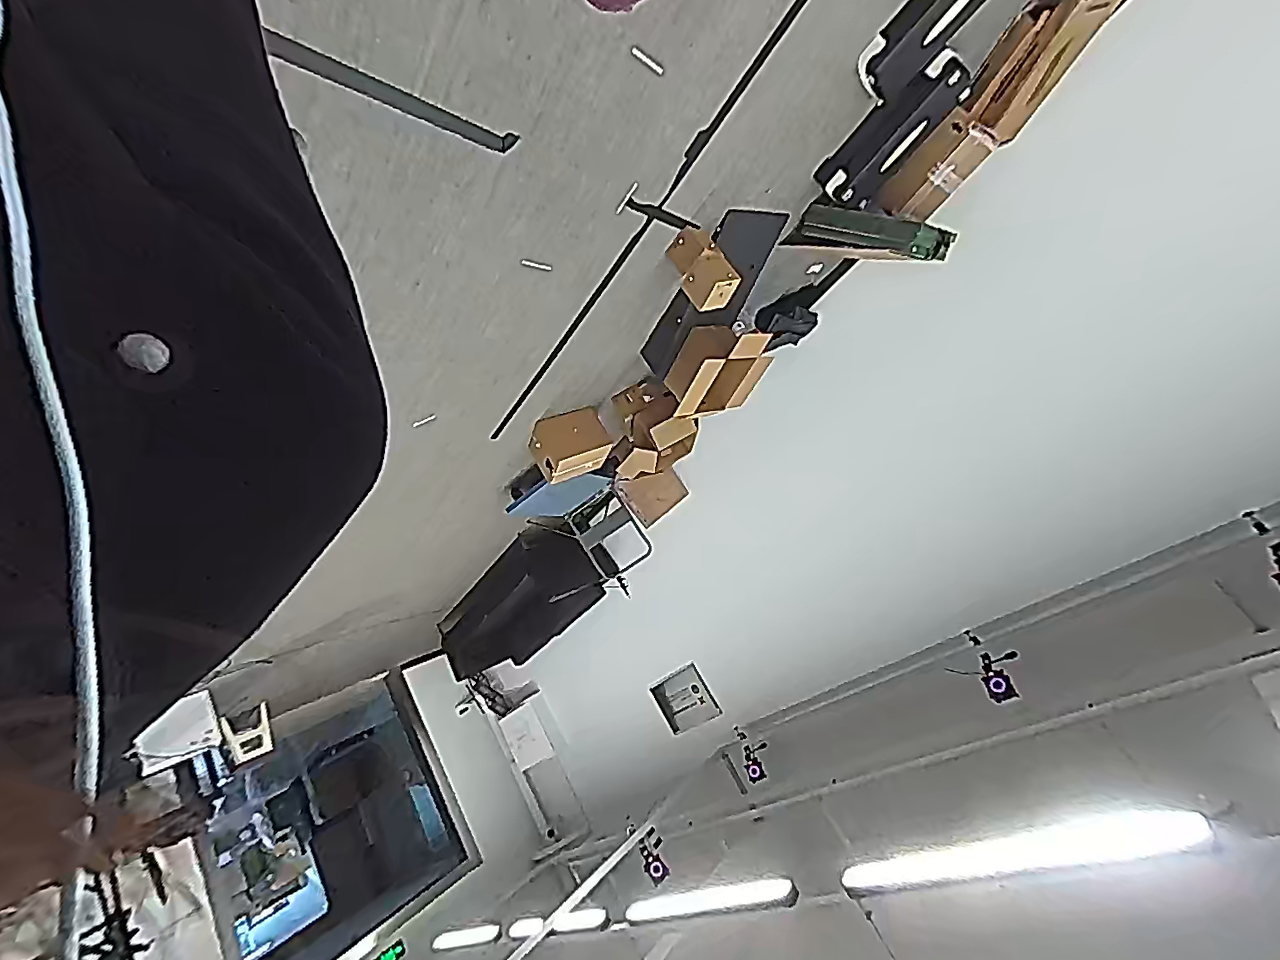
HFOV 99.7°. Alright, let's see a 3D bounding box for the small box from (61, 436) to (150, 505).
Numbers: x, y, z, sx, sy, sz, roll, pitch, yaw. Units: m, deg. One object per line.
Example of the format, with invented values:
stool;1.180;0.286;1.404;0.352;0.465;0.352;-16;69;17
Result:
small box;-1.805;-0.037;1.821;0.168;0.176;0.179;-41;163;28
